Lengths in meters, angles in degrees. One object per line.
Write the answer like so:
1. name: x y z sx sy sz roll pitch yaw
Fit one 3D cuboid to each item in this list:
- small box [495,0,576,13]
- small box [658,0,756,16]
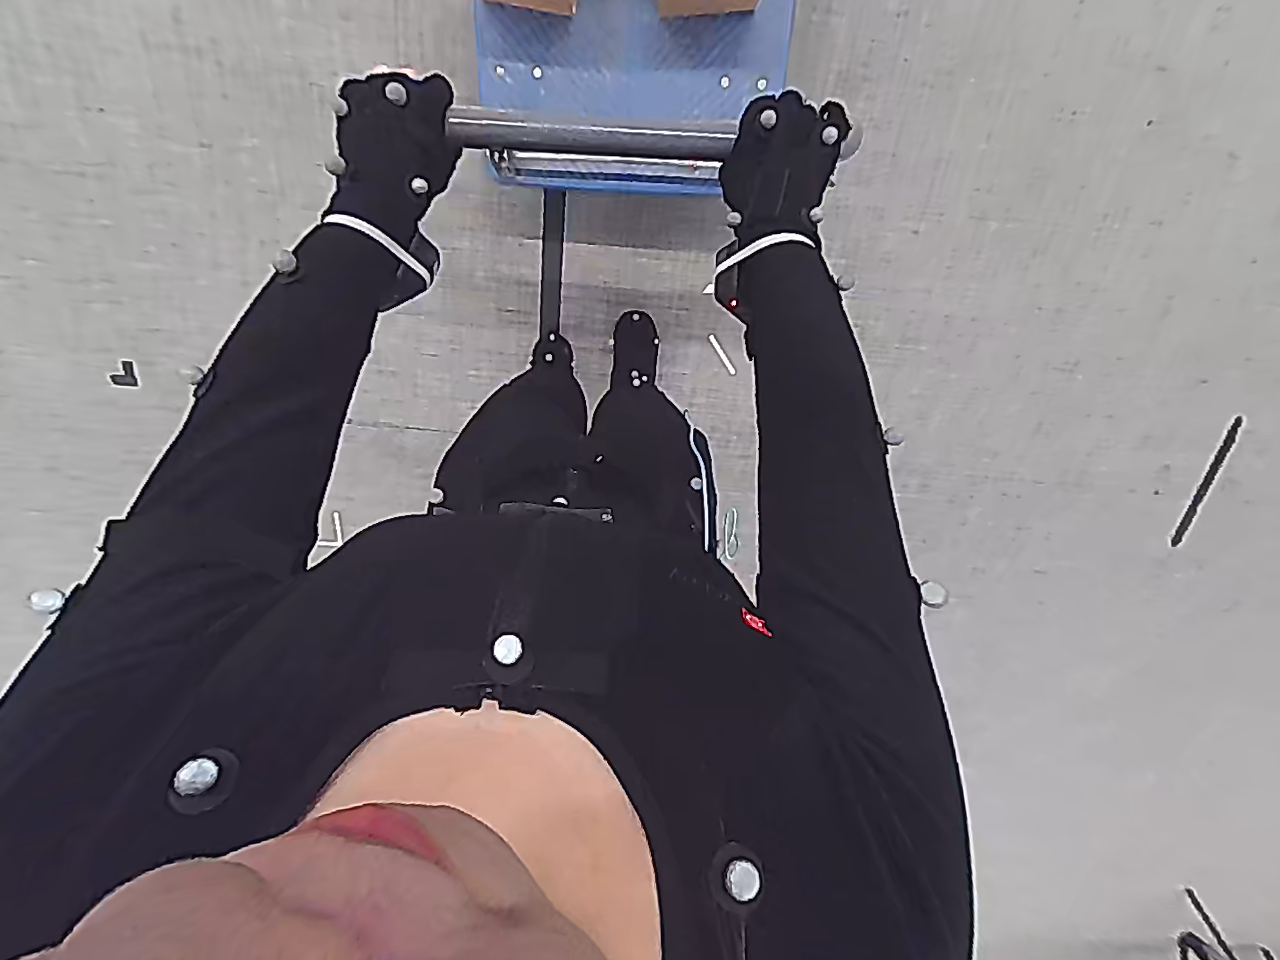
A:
1. small box: -0.194 -0.894 0.870 0.179 0.176 0.168 8 114 -3
2. small box: 0.112 -0.878 0.866 0.179 0.176 0.168 -1 114 3
